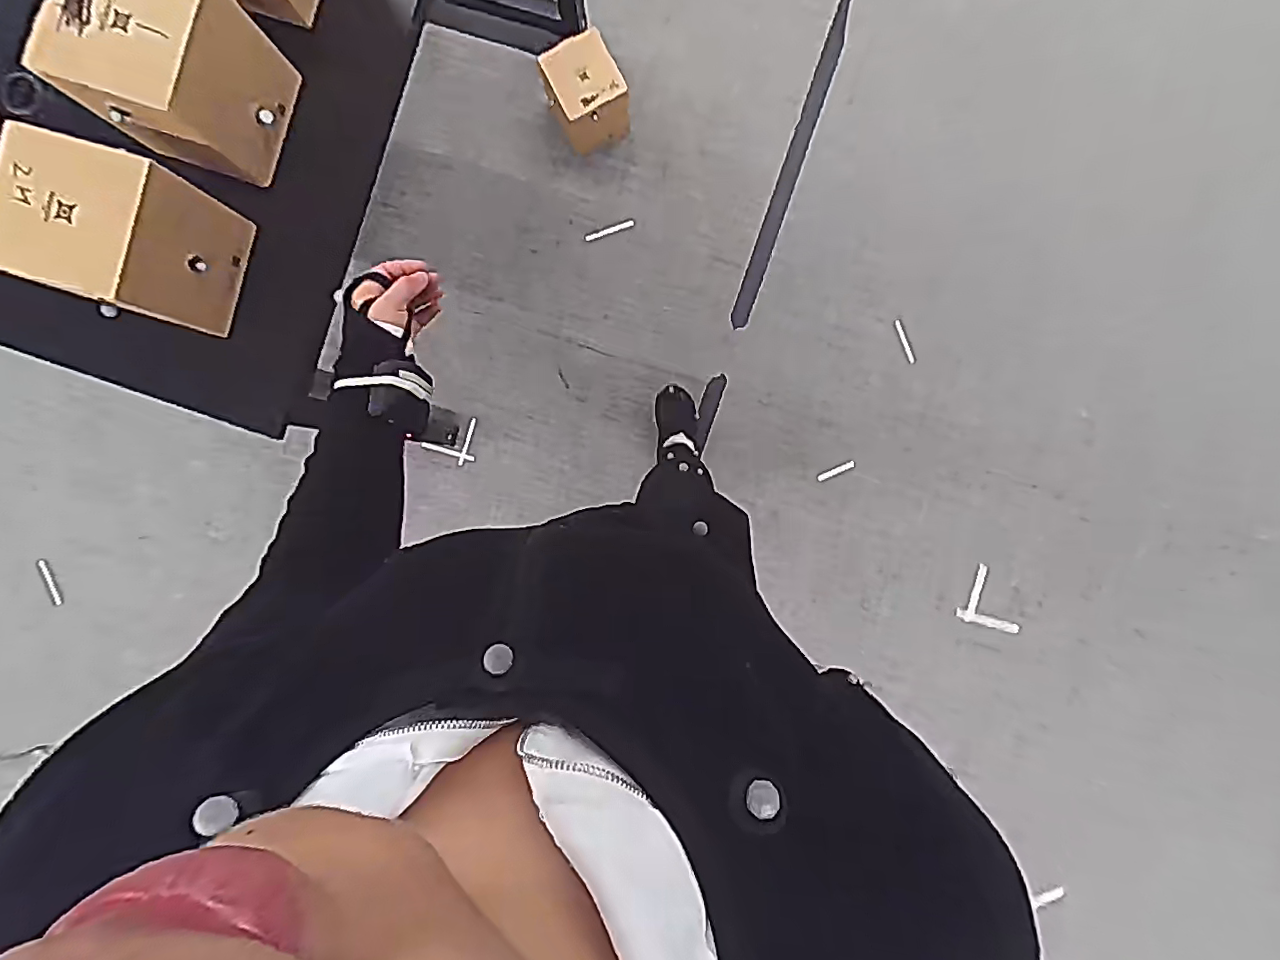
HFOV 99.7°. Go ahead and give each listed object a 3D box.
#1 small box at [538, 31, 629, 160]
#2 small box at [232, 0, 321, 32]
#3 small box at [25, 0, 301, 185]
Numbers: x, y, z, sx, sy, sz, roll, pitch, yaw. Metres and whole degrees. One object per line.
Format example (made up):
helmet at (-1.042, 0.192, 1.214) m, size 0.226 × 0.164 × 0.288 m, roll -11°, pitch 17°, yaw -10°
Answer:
small box at (-0.140, -0.981, 1.395) m, size 0.168 × 0.176 × 0.179 m, roll -28°, pitch 90°, yaw 2°
small box at (-0.515, -0.733, 0.681) m, size 0.168 × 0.176 × 0.179 m, roll 17°, pitch 92°, yaw 2°
small box at (-0.582, -0.511, 0.684) m, size 0.179 × 0.176 × 0.168 m, roll 18°, pitch 91°, yaw 0°
